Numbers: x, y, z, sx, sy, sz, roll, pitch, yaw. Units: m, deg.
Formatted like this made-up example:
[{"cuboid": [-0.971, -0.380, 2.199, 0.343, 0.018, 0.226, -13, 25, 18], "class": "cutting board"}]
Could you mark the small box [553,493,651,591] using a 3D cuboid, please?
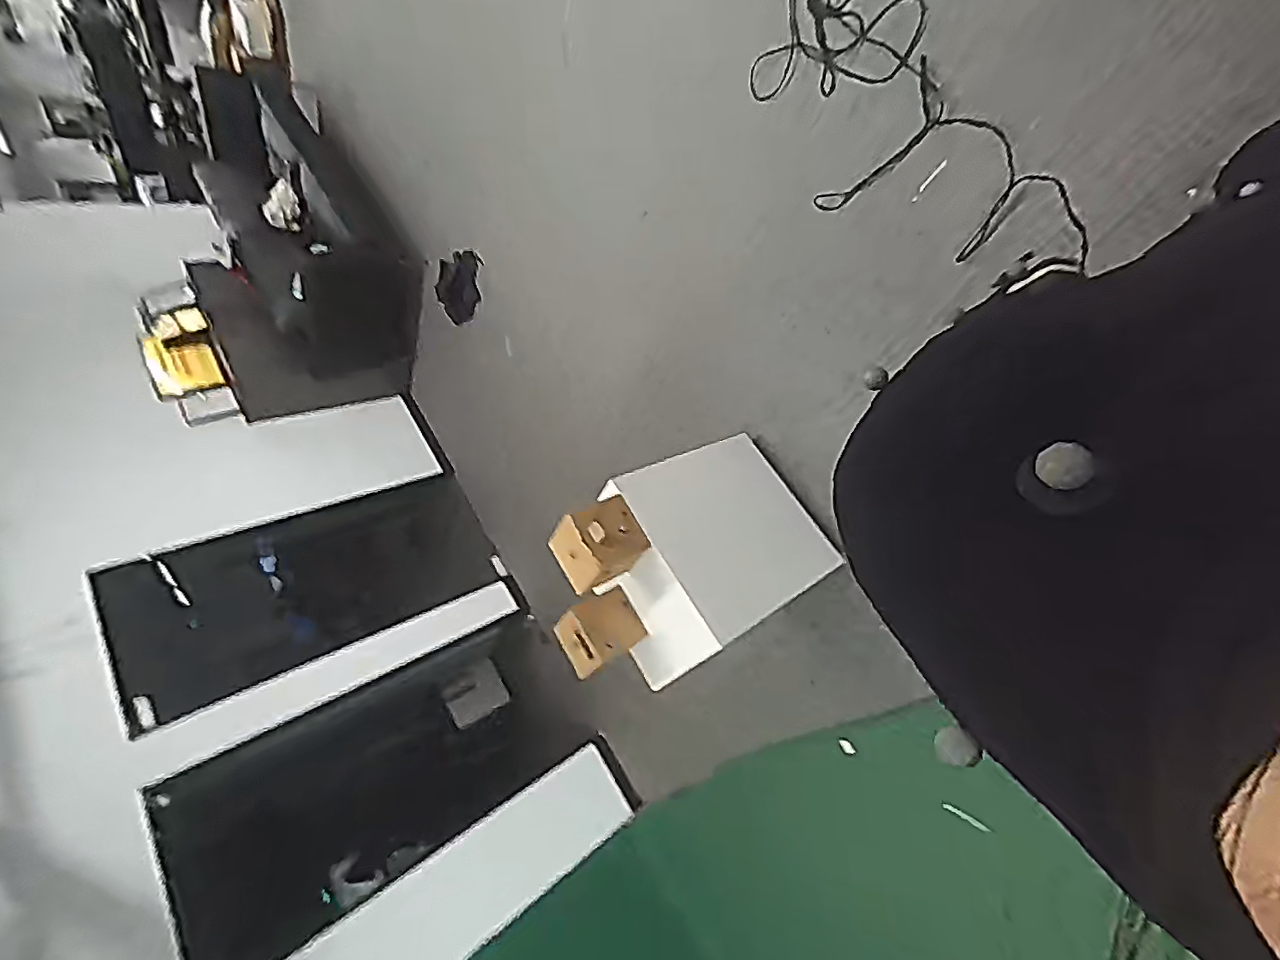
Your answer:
[{"cuboid": [-0.098, 0.159, 1.400, 0.168, 0.176, 0.179, 57, 142, 17], "class": "small box"}]
